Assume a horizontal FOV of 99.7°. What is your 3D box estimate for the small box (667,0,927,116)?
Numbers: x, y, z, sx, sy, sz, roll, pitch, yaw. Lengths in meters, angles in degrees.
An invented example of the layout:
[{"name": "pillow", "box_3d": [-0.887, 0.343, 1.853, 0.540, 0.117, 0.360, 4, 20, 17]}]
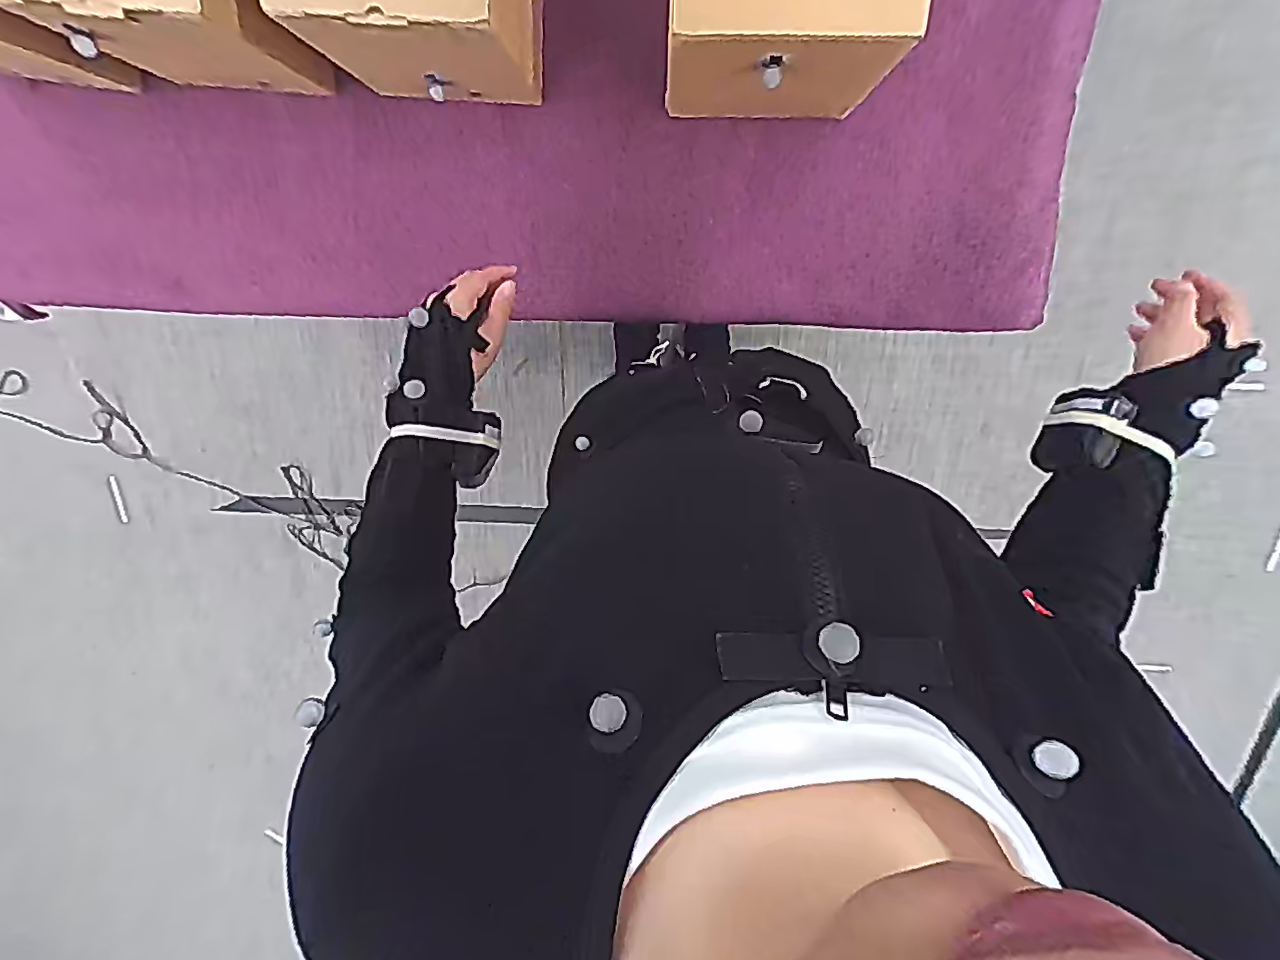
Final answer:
[{"name": "small box", "box_3d": [0.112, -0.407, 0.422, 0.179, 0.176, 0.168, 2, 108, 3]}]
